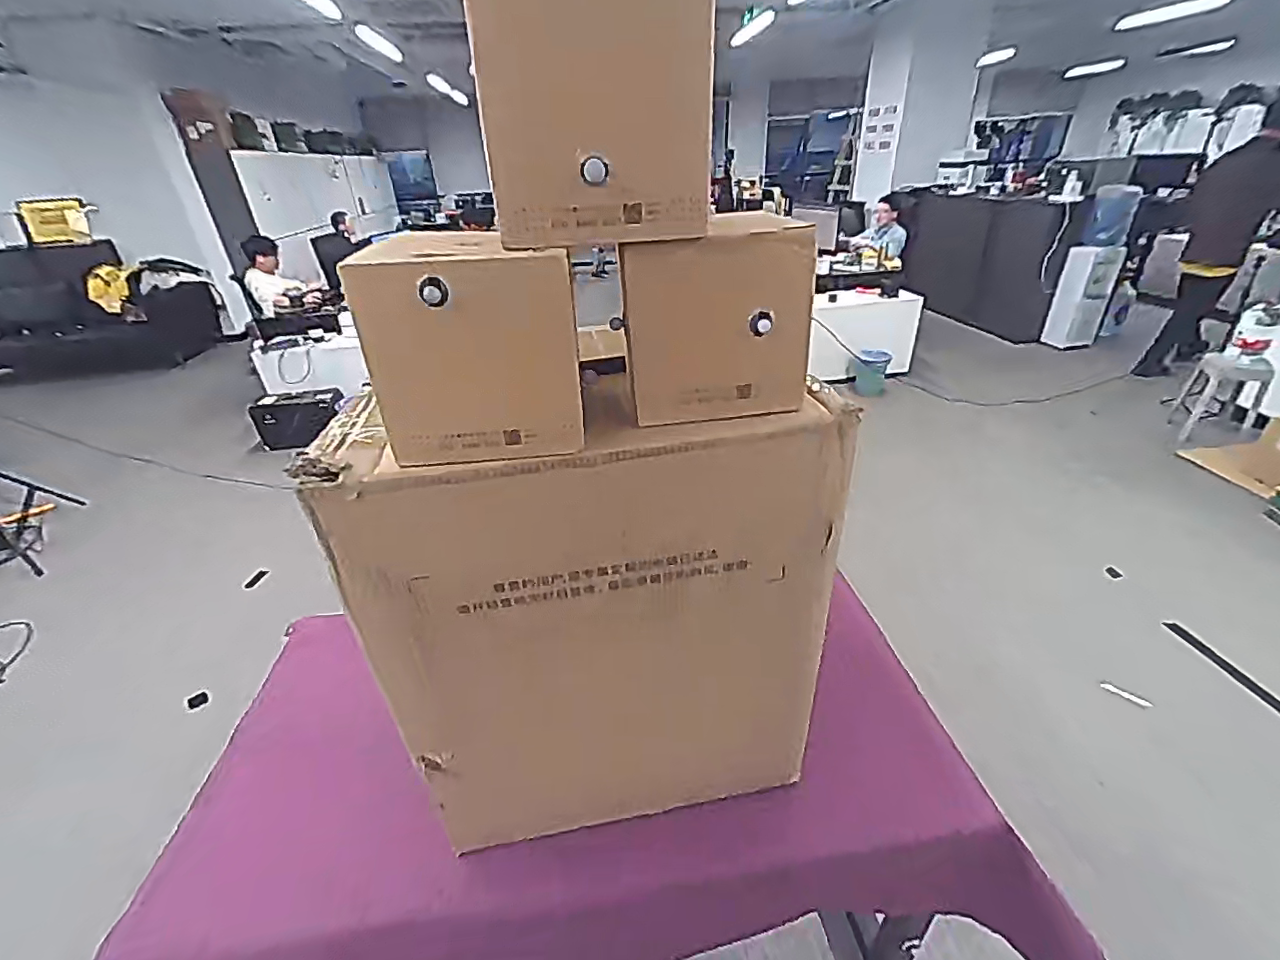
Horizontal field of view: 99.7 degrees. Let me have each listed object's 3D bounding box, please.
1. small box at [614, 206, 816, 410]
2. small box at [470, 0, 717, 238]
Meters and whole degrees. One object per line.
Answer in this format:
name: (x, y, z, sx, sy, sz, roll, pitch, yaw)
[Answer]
small box: (0.065, -0.175, 0.550, 0.168, 0.176, 0.179, -5, 29, -3)
small box: (-0.037, -0.302, 0.453, 0.168, 0.176, 0.179, -6, 31, -4)
